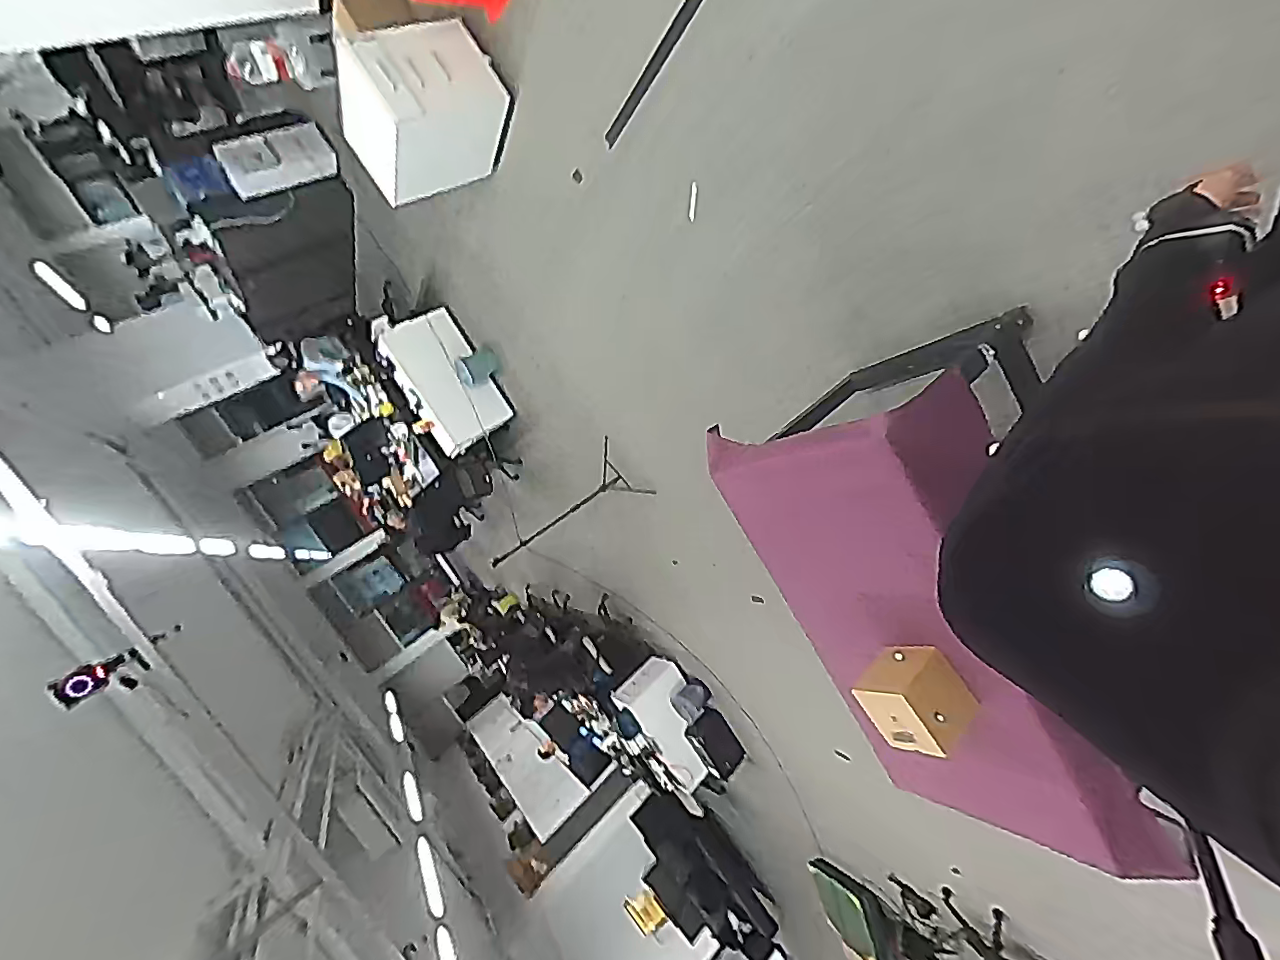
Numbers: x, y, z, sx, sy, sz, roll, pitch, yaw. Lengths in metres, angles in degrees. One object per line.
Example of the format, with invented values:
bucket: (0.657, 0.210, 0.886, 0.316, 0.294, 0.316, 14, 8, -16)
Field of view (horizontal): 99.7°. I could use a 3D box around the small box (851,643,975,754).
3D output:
small box: (0.663, 0.520, 1.311, 0.179, 0.176, 0.168, 54, 153, 1)
